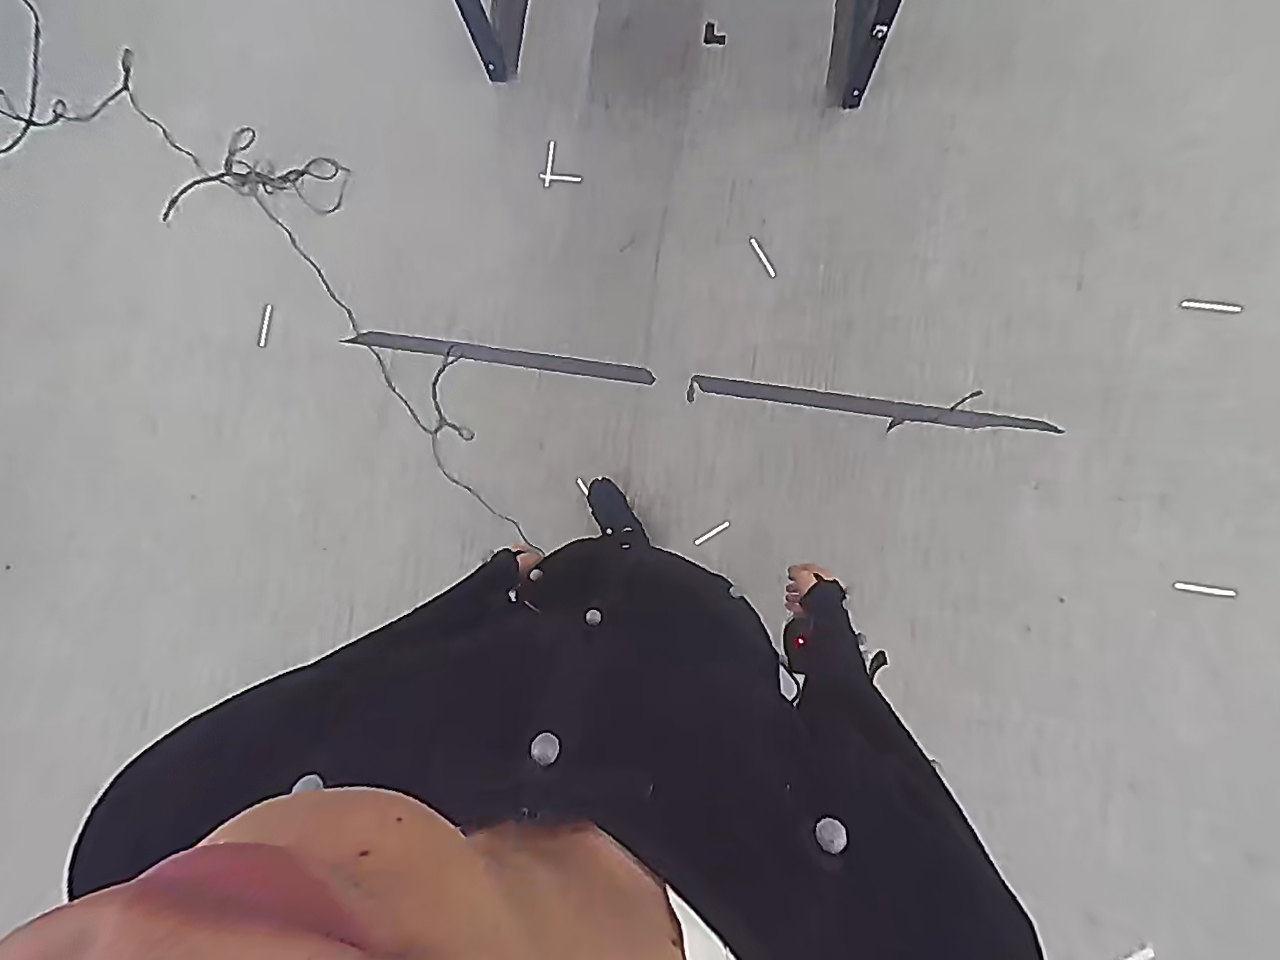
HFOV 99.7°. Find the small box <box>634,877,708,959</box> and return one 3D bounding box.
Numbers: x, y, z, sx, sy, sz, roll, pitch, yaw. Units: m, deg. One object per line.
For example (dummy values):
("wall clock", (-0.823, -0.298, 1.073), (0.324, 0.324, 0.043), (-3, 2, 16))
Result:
("small box", (0.084, 1.229, 1.475), (0.179, 0.176, 0.168), (9, 87, 4))
